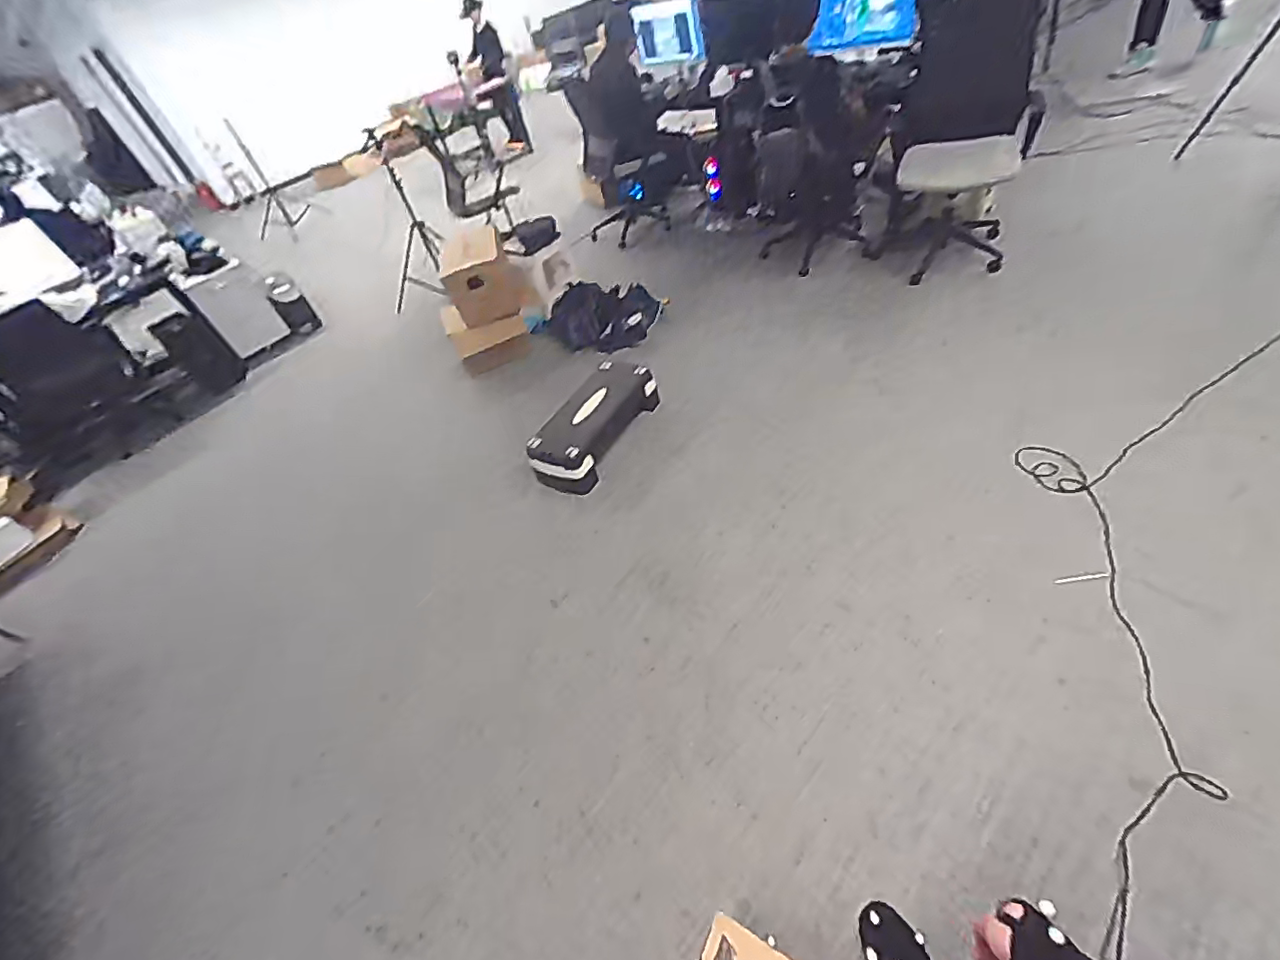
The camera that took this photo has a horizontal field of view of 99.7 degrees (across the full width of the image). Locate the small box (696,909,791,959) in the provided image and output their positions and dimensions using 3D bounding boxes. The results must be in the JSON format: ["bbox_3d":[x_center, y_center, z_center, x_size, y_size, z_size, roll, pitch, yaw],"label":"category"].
[{"bbox_3d":[0.186,0.909,0.952,0.179,0.176,0.168,17,53,29],"label":"small box"}]
